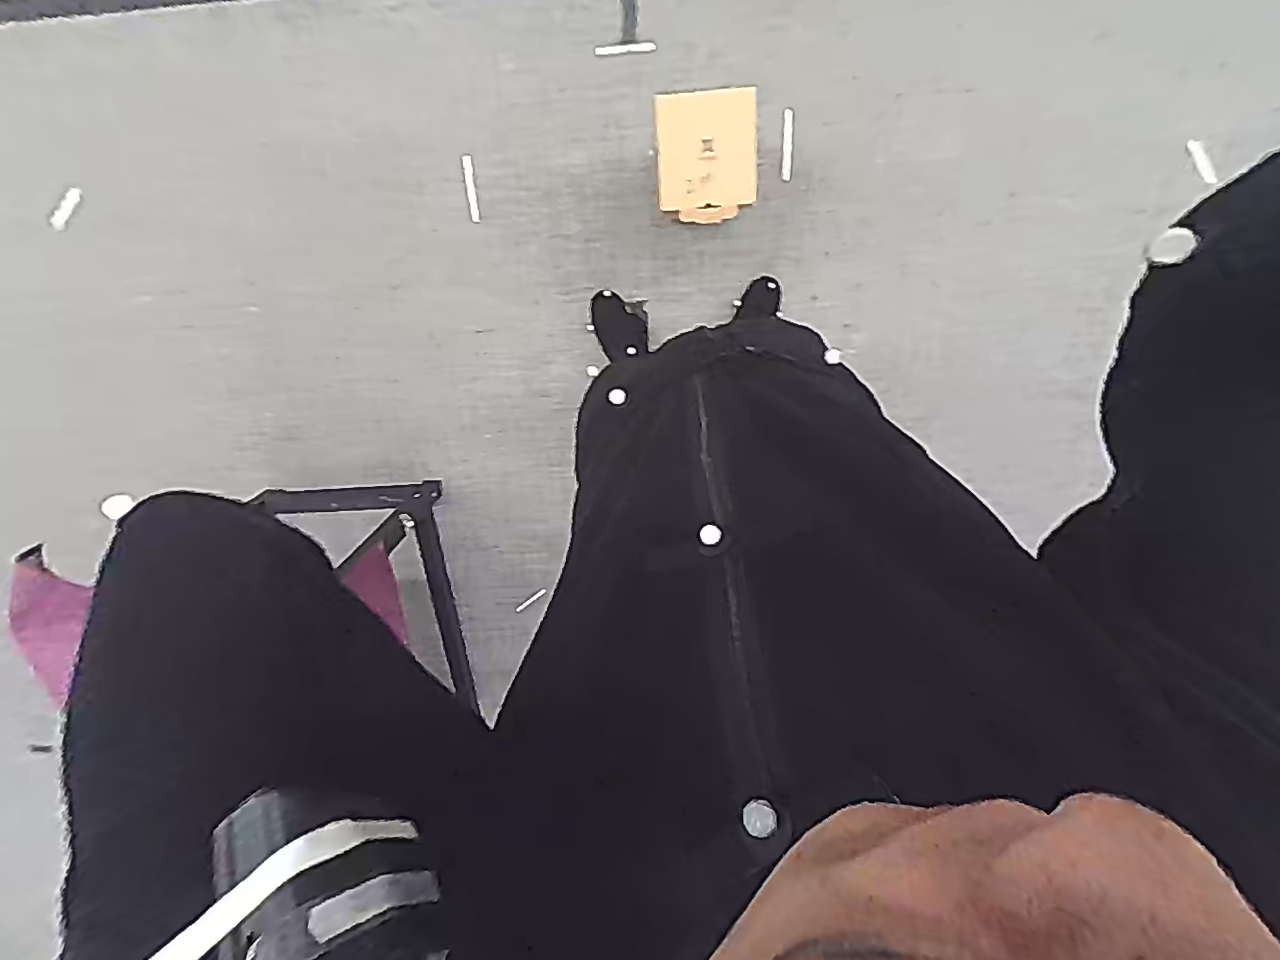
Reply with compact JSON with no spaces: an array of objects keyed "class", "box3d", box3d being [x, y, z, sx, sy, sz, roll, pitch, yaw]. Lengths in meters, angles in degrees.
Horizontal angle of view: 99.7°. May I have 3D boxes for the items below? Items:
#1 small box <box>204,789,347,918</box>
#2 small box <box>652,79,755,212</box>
[{"class":"small box","box3d":[-0.776,0.807,1.176,0.168,0.176,0.179,-6,112,4]},{"class":"small box","box3d":[0.110,-0.594,0.980,0.168,0.176,0.179,-4,114,2]}]
